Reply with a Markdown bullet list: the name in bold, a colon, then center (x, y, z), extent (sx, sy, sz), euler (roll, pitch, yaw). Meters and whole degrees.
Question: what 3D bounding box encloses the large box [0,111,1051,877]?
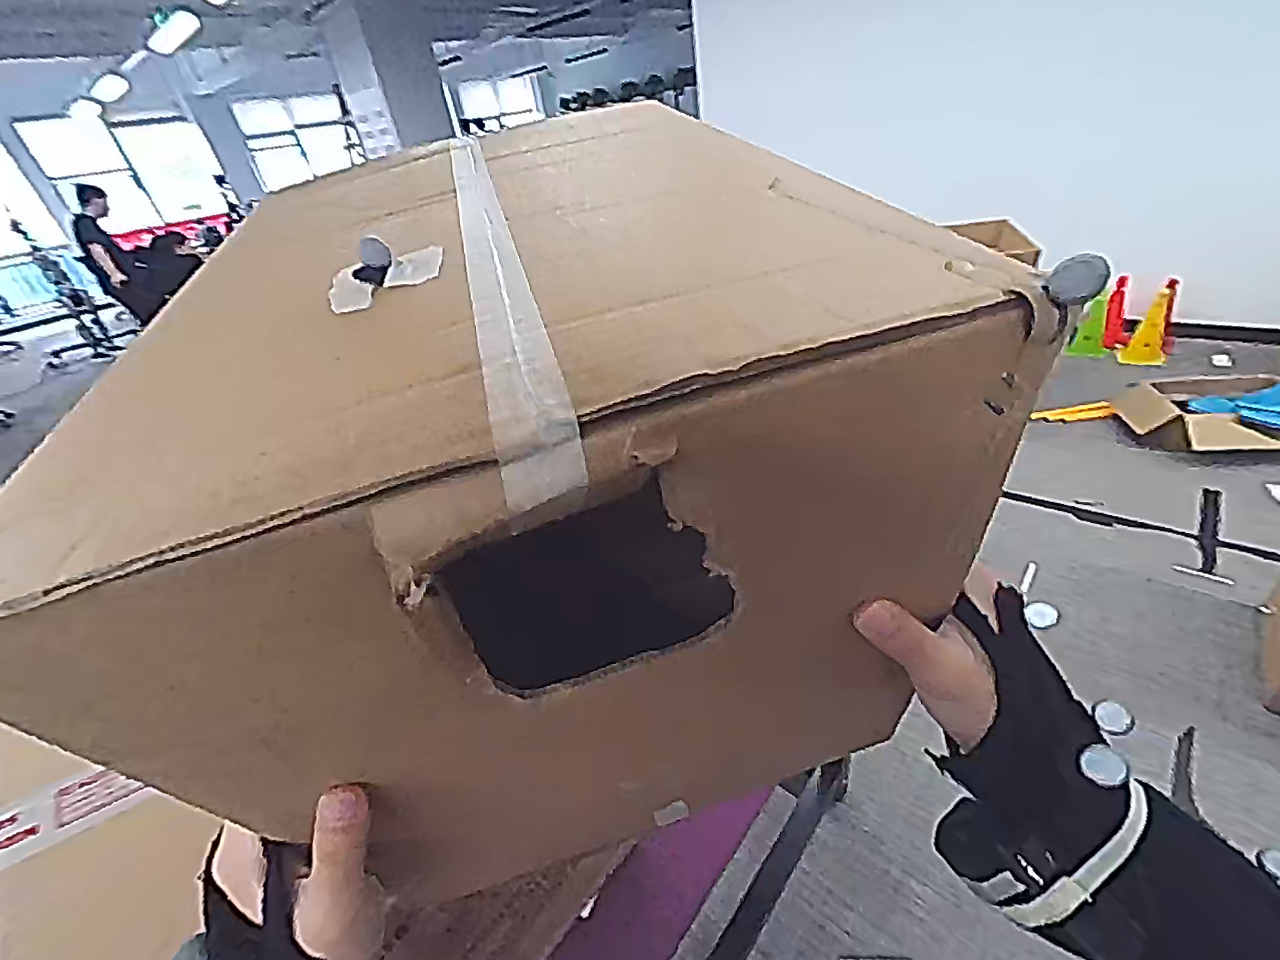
- **large box**: center (-0.054, -0.027, 0.389), extent (0.320, 0.320, 0.408), euler (-18, 44, -6)
